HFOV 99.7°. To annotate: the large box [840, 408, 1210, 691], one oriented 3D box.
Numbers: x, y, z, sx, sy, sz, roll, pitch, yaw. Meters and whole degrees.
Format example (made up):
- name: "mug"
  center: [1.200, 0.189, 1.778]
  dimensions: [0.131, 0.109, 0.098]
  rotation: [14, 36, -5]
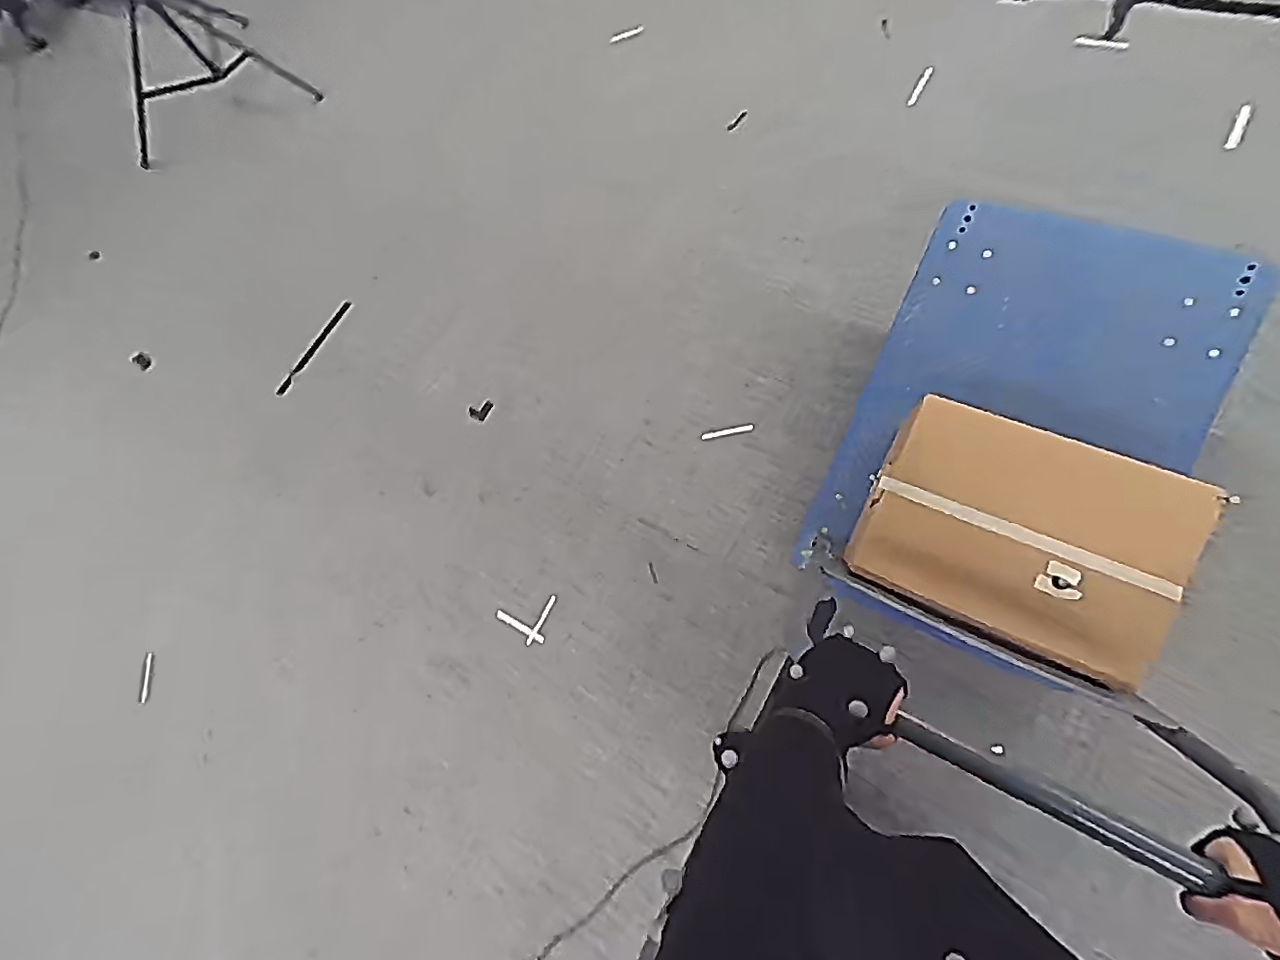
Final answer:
- name: "large box"
  center: [0.616, 0.103, 0.966]
  dimensions: [0.408, 0.320, 0.320]
  rotation: [24, 94, 18]
